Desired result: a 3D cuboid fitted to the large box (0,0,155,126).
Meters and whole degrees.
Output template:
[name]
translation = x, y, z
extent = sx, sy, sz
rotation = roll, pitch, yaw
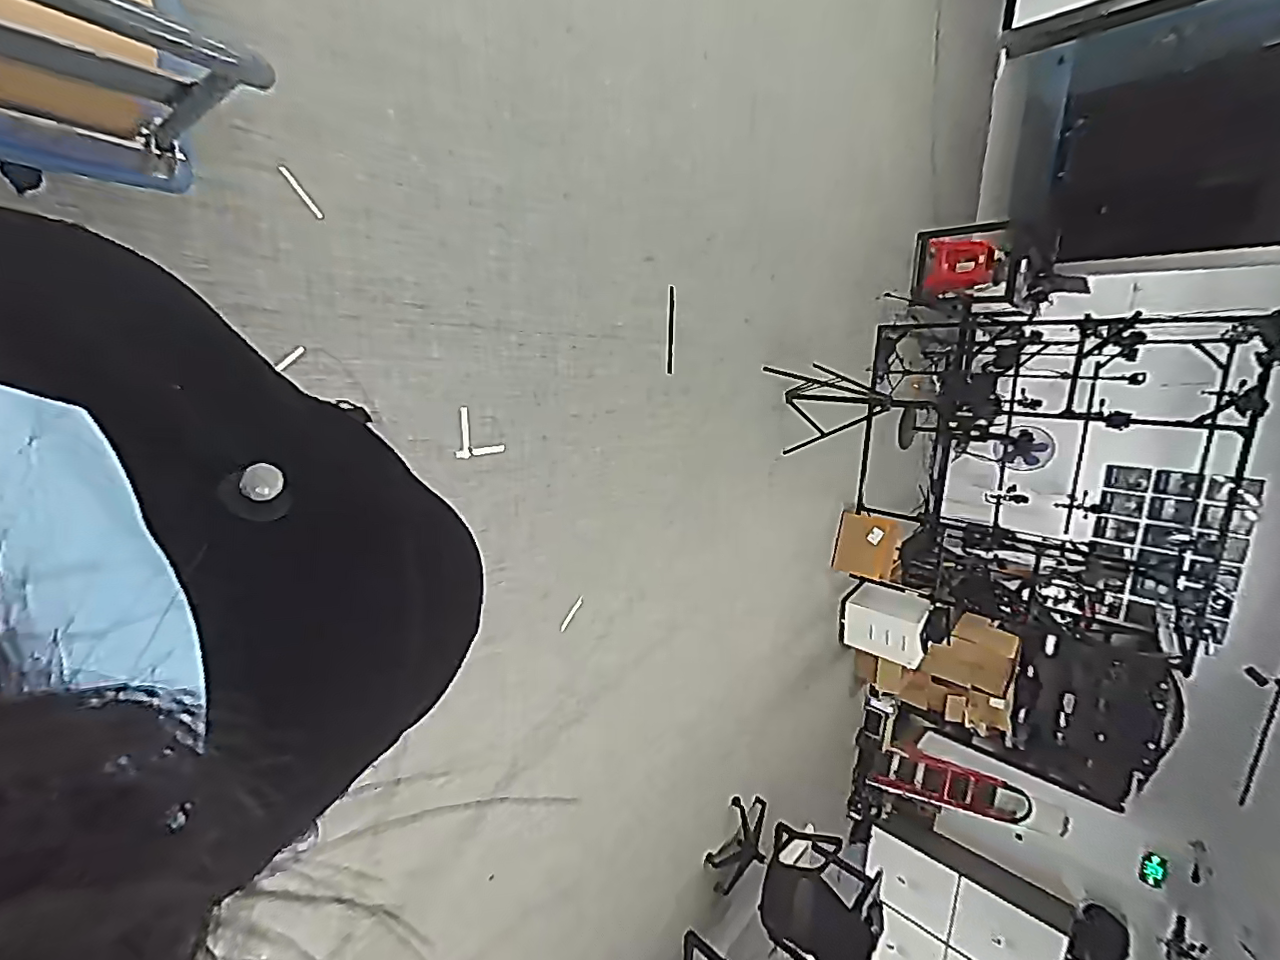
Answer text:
[large box]
translation = -0.905, -0.708, 0.662
extent = 0.408, 0.320, 0.320
rotation = -10, 107, -49
